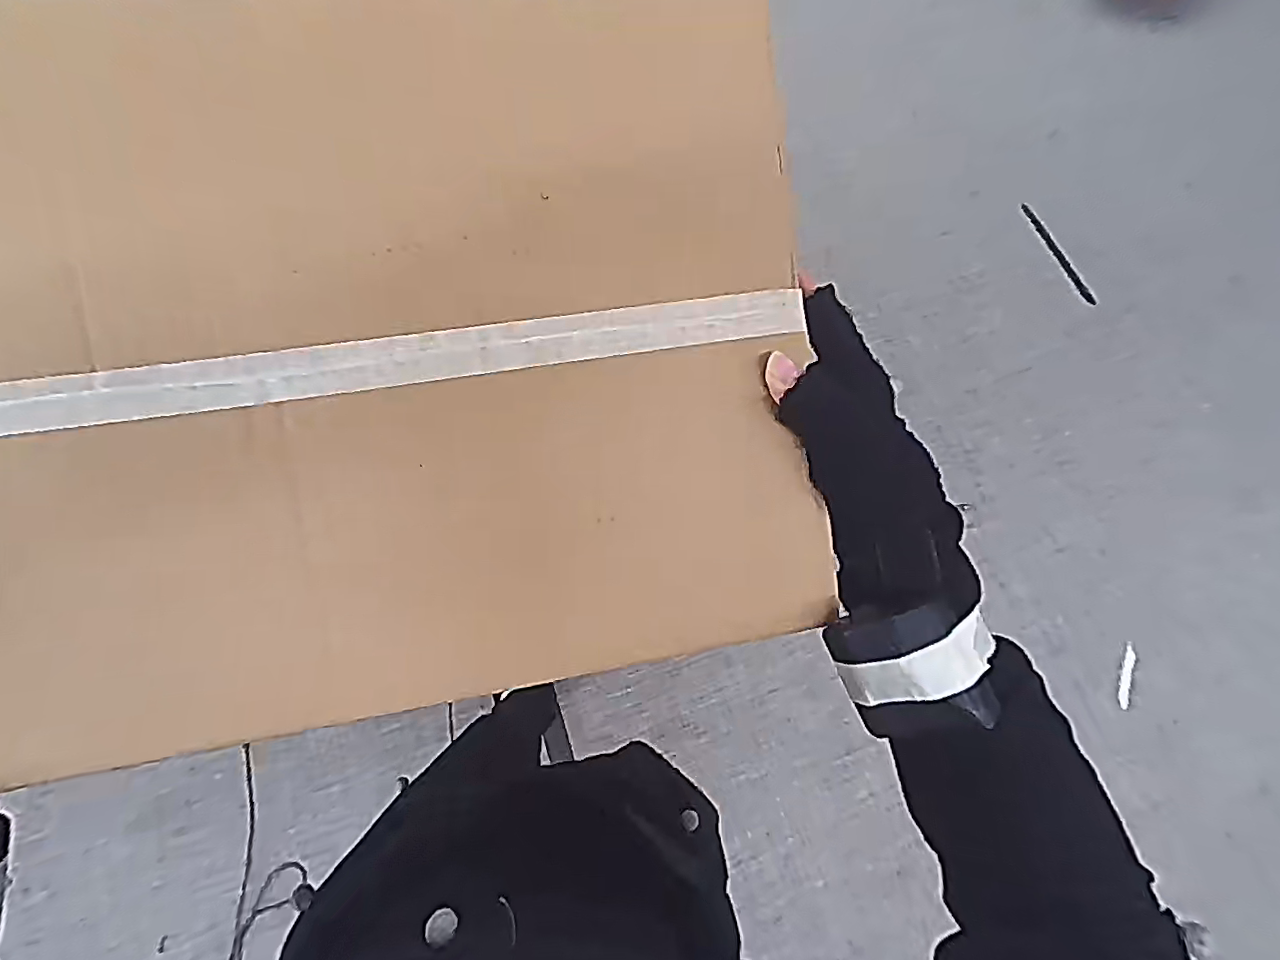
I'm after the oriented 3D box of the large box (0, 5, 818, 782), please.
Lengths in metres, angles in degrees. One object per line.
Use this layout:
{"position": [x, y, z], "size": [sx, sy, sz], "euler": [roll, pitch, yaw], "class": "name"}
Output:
{"position": [-0.139, -0.058, 0.395], "size": [0.408, 0.320, 0.320], "euler": [-8, 94, -8], "class": "large box"}
